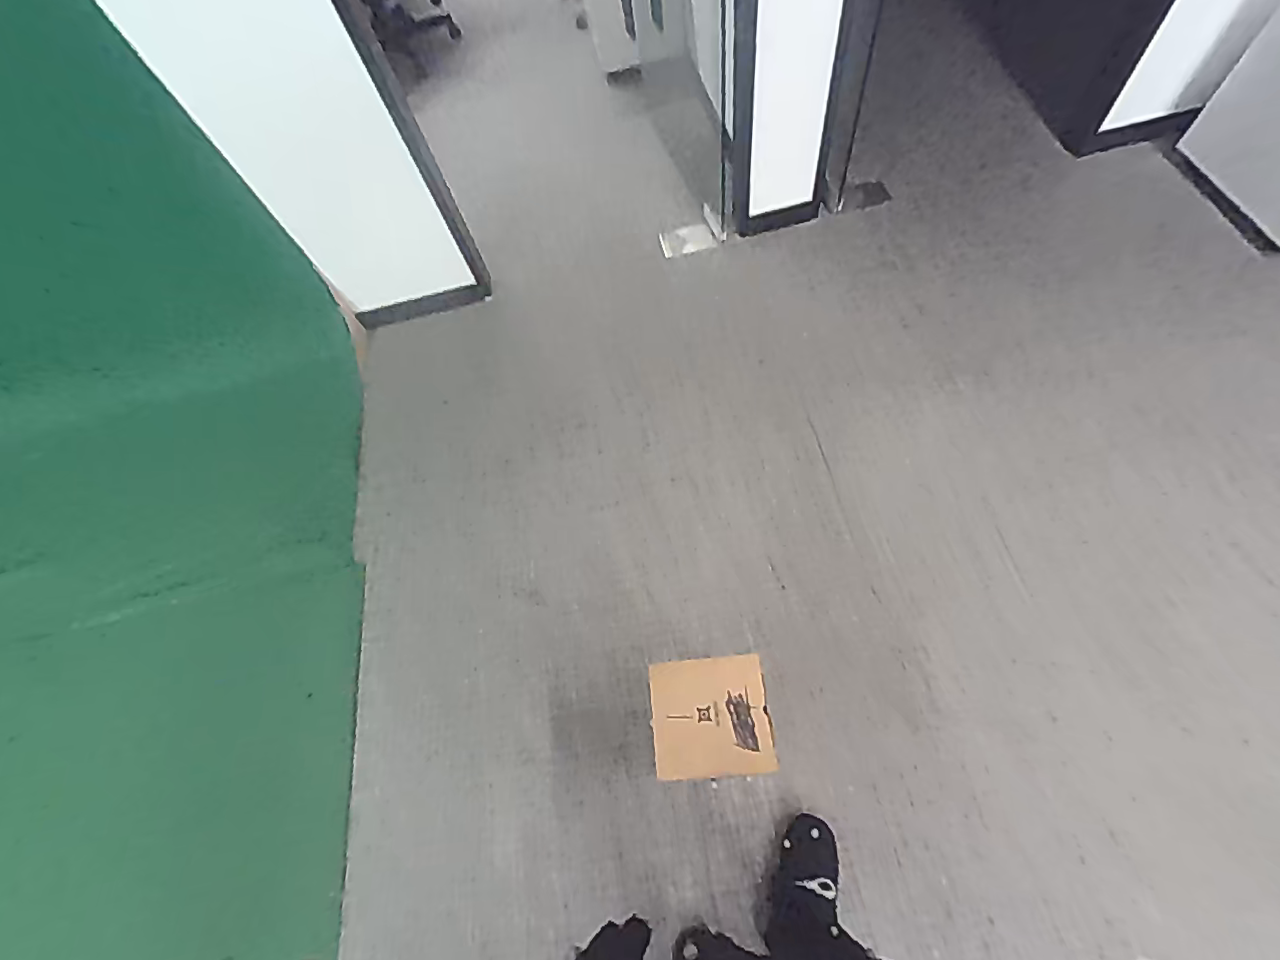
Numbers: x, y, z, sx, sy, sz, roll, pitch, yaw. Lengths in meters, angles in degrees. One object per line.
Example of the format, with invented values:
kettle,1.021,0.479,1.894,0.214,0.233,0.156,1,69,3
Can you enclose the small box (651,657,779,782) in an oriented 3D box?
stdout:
small box,0.118,0.390,0.876,0.179,0.176,0.168,-7,61,7
